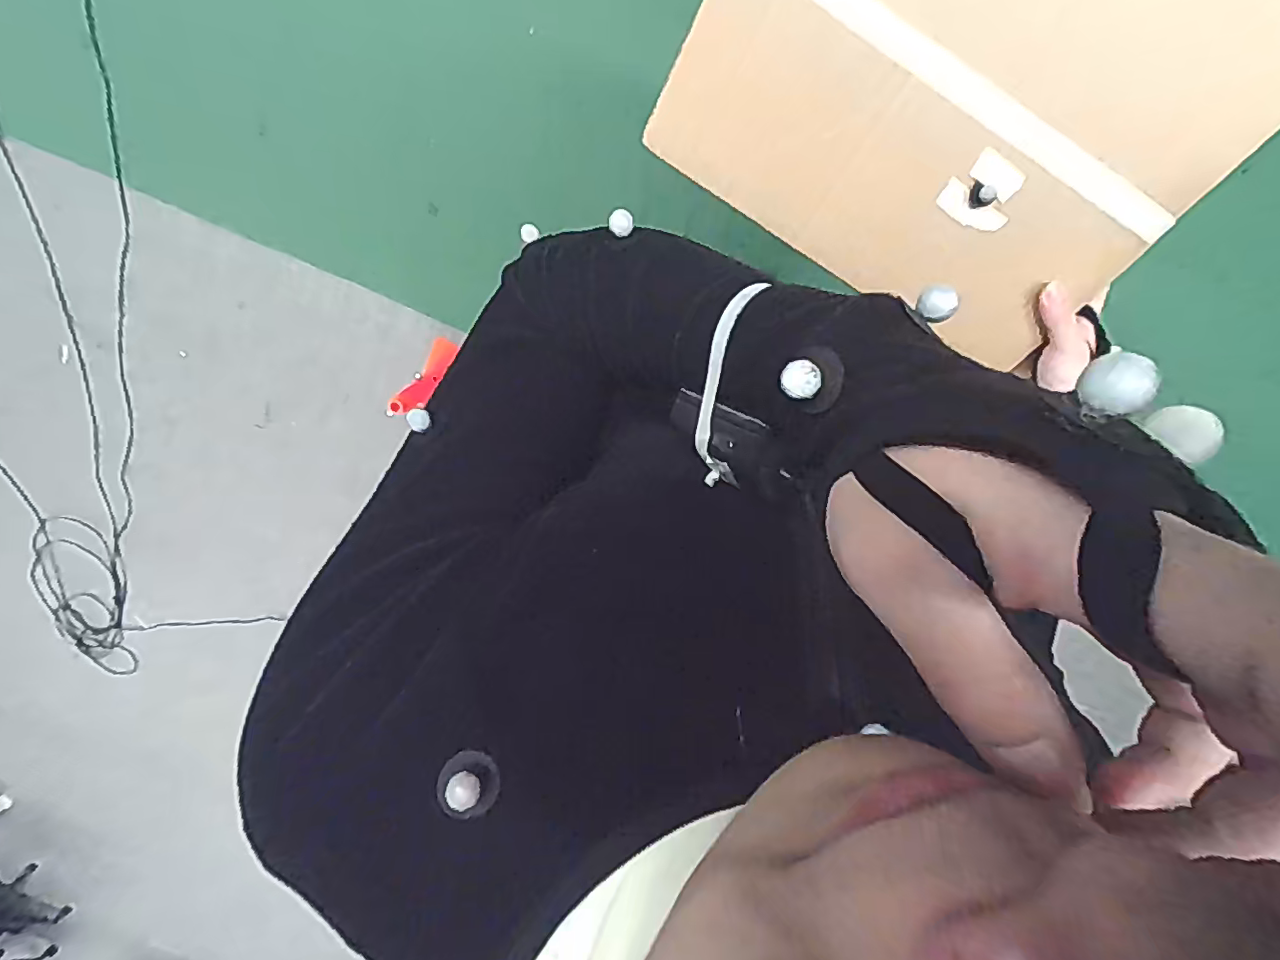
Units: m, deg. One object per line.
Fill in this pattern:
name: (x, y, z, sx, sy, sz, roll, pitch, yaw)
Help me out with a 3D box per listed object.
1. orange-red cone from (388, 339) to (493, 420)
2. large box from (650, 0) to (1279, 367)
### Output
orange-red cone: (-0.588, -0.245, 1.498, 0.199, 0.360, 0.198, 31, 111, -4)
large box: (0.274, -0.387, 0.536, 0.408, 0.320, 0.320, 29, 128, -7)
